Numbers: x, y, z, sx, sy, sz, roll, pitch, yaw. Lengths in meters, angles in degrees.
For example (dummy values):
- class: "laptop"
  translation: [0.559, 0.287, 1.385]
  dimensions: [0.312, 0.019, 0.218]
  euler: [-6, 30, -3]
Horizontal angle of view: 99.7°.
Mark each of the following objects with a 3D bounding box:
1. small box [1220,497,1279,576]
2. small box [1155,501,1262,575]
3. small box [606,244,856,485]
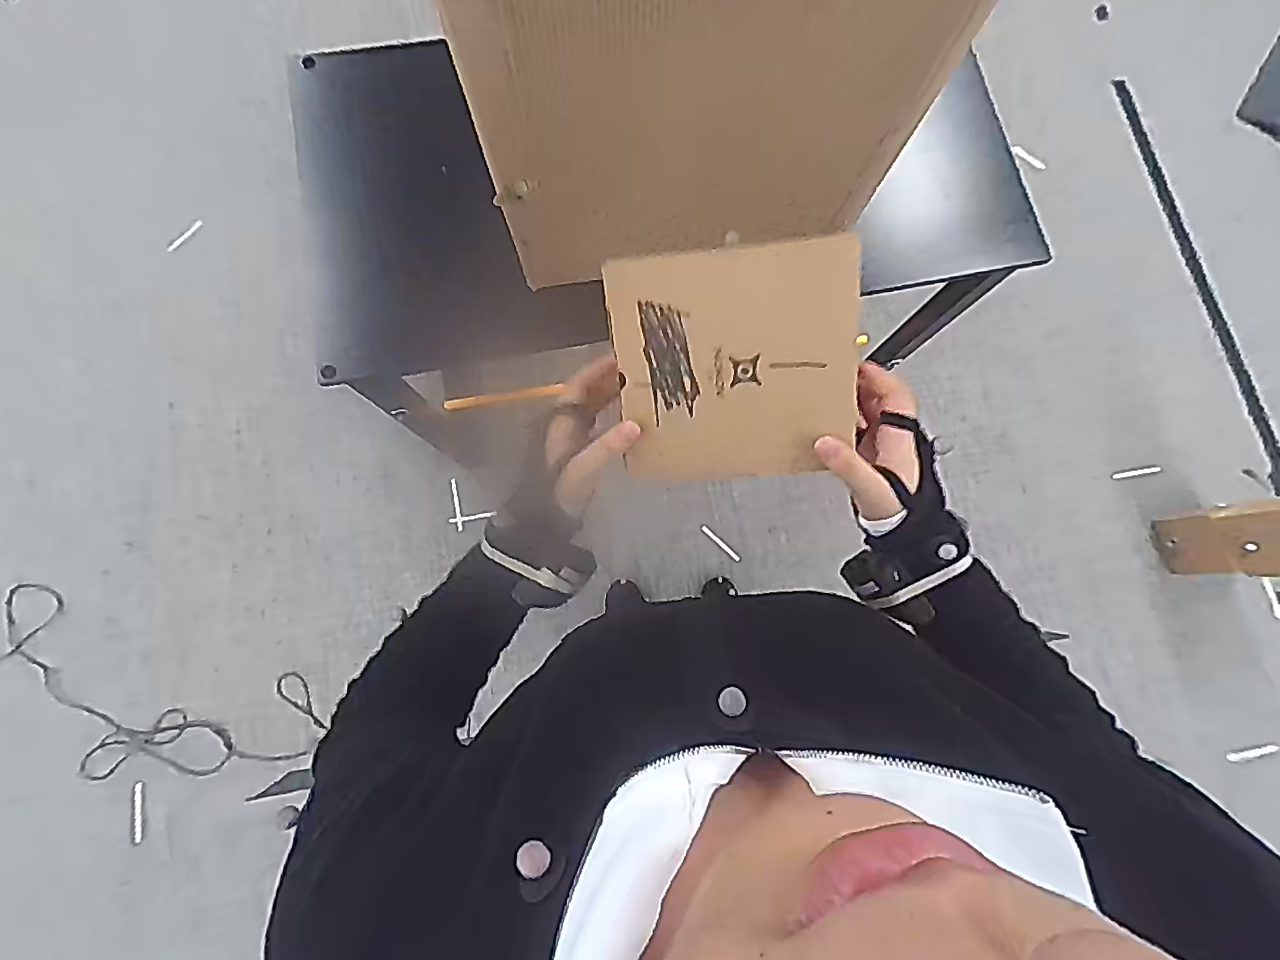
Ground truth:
- class: "small box"
  translation: [1.620, 0.132, 1.330]
  dimensions: [0.179, 0.176, 0.168]
  euler: [-18, 79, -5]
- class: "small box"
  translation: [1.601, 0.164, 1.491]
  dimensions: [0.179, 0.176, 0.168]
  euler: [-14, 79, -3]
- class: "small box"
  translation: [0.076, -0.101, 0.475]
  dimensions: [0.179, 0.176, 0.168]
  euler: [-4, 107, 6]
